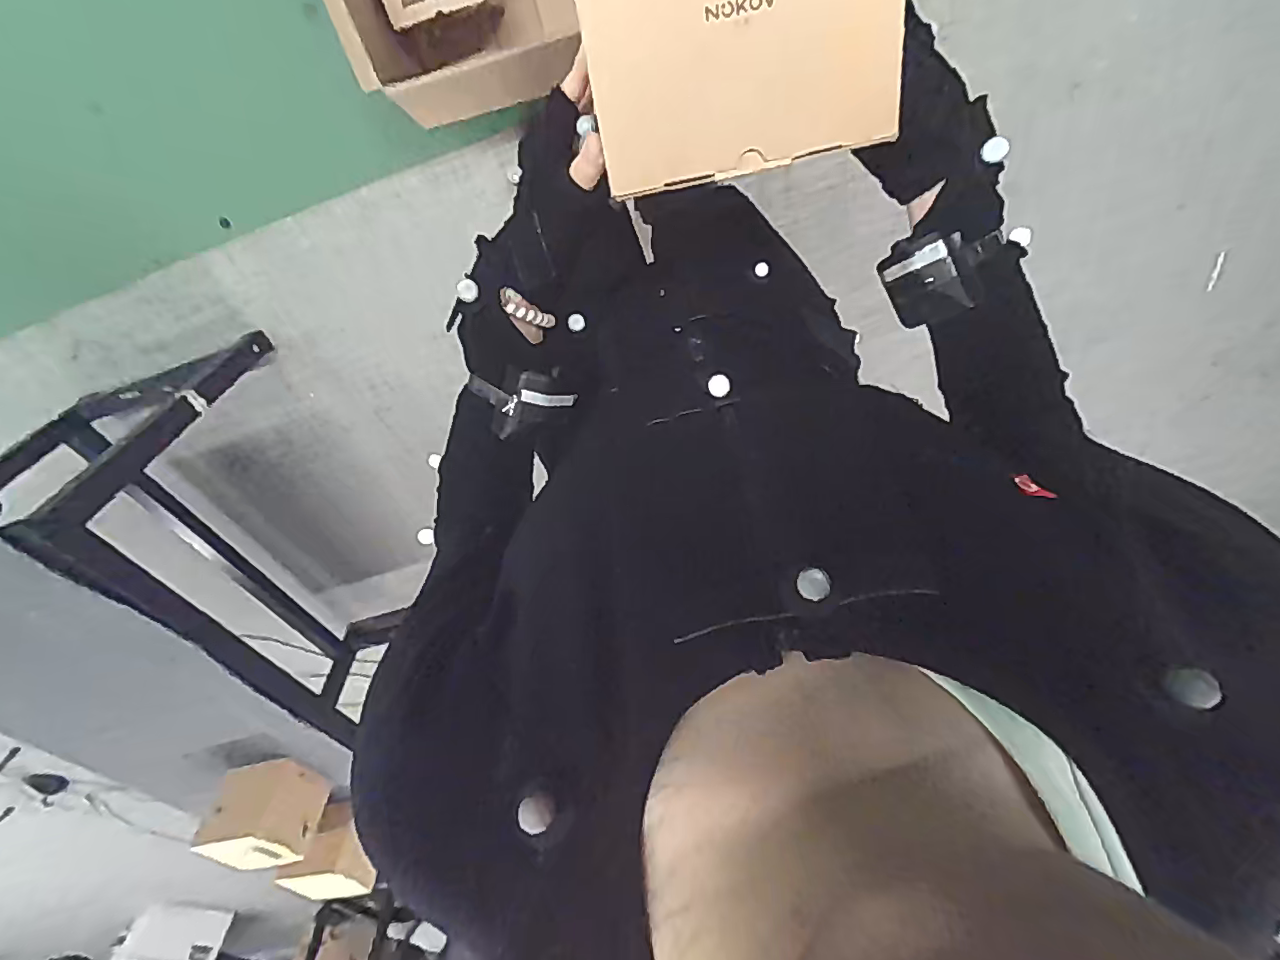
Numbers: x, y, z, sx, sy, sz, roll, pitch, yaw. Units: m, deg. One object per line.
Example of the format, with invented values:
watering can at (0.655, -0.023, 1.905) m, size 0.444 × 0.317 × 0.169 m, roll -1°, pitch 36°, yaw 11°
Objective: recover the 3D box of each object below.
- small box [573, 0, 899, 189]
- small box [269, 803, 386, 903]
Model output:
small box at (0.044, -0.297, 0.334) m, size 0.168 × 0.176 × 0.179 m, roll -10°, pitch 122°, yaw 6°
small box at (-0.806, 0.974, 1.415) m, size 0.179 × 0.176 × 0.168 m, roll -13°, pitch 128°, yaw 8°
